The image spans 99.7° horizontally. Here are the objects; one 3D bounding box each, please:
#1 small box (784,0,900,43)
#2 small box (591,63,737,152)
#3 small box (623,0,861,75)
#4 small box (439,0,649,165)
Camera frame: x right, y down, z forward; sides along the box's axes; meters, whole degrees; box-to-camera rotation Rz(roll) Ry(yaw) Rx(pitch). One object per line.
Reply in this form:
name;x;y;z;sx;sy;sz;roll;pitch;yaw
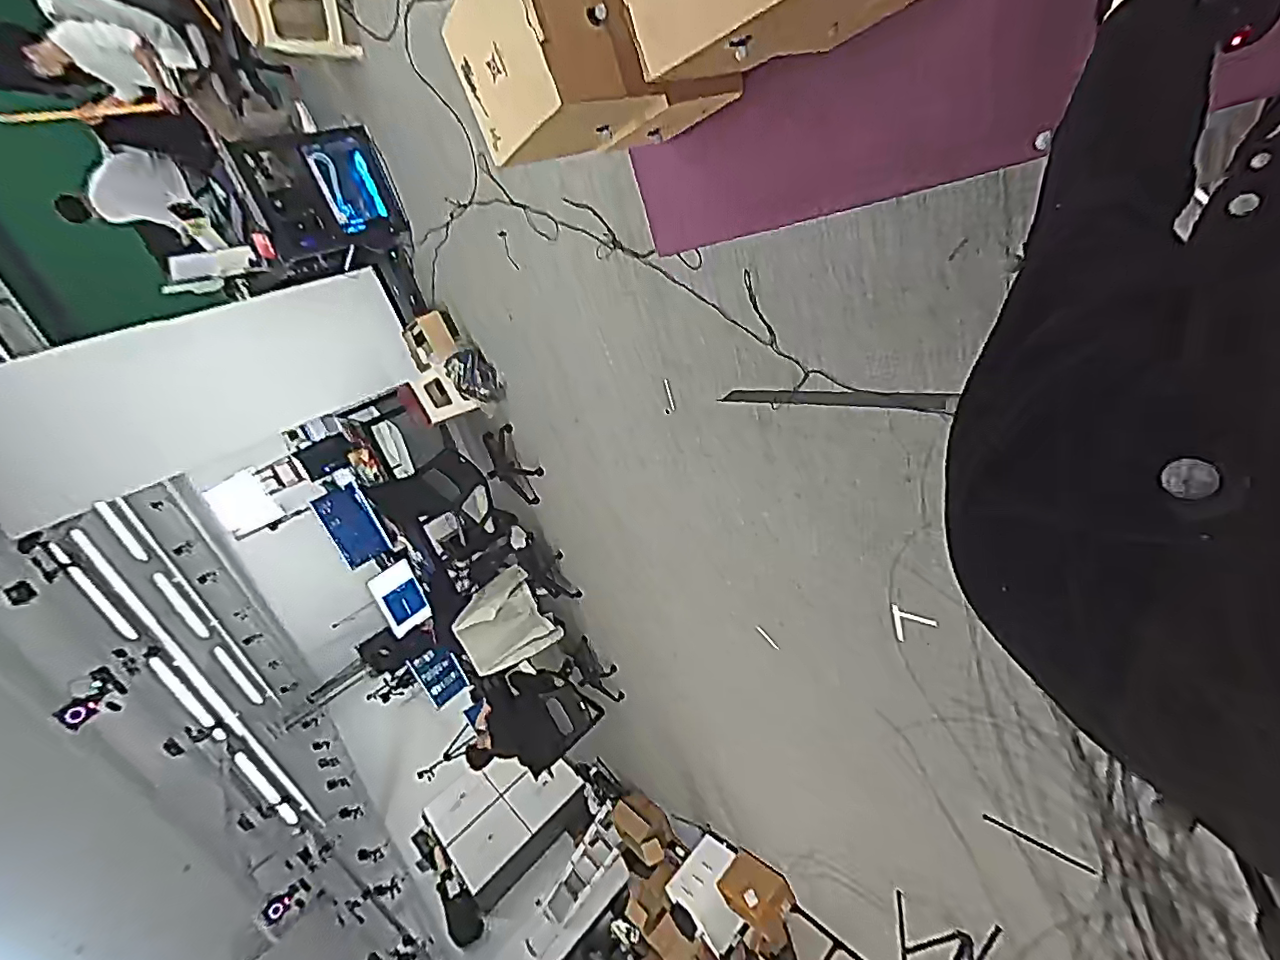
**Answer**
small box;0.201;-0.563;0.533;0.179;0.176;0.168;7;125;49
small box;0.011;-0.596;0.756;0.168;0.176;0.179;7;123;51
small box;0.091;-0.474;0.453;0.179;0.176;0.168;10;128;47
small box;-0.110;-0.524;0.671;0.179;0.176;0.168;3;121;51
